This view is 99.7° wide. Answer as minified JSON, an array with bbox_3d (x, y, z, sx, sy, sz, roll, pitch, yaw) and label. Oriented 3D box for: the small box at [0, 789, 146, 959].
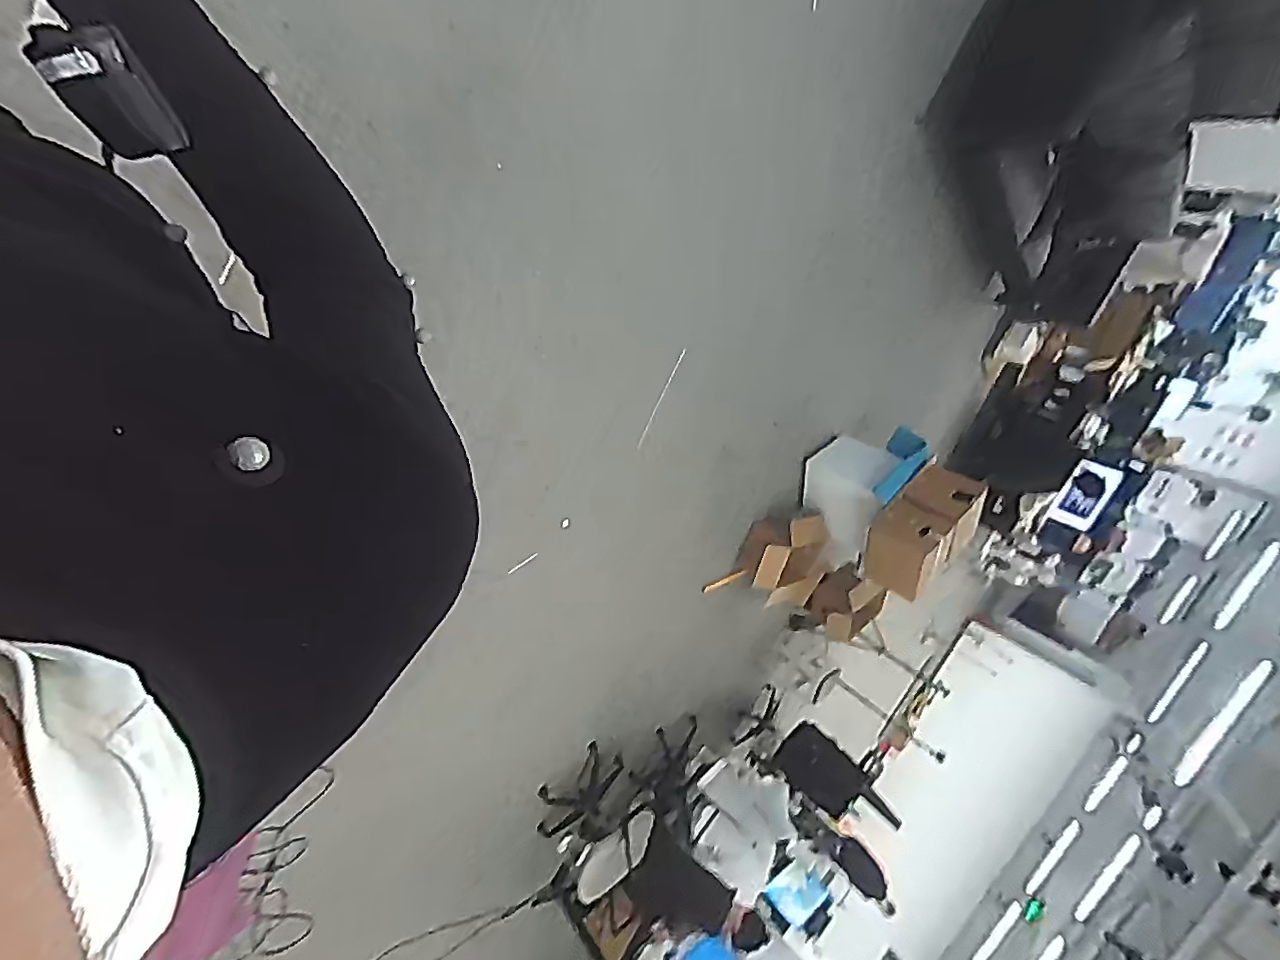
[{"bbox_3d":[-0.875,0.609,0.808,0.179,0.176,0.168,8,111,-48],"label":"small box"}]
